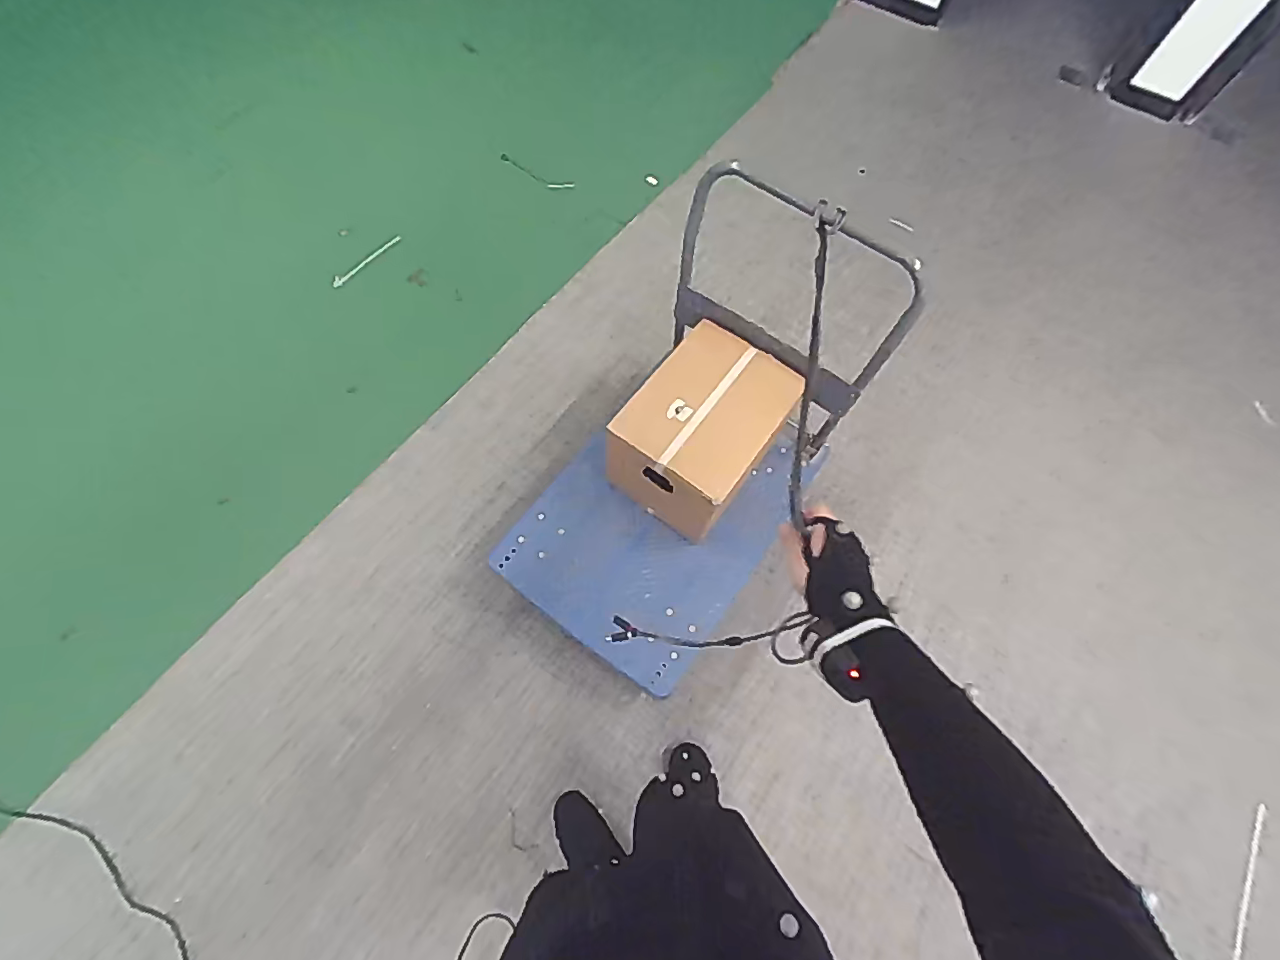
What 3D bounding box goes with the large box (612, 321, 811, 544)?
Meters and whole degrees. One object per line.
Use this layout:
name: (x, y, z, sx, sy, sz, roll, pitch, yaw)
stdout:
large box: (0.166, -0.110, 1.380, 0.320, 0.320, 0.408, 35, 70, 12)
